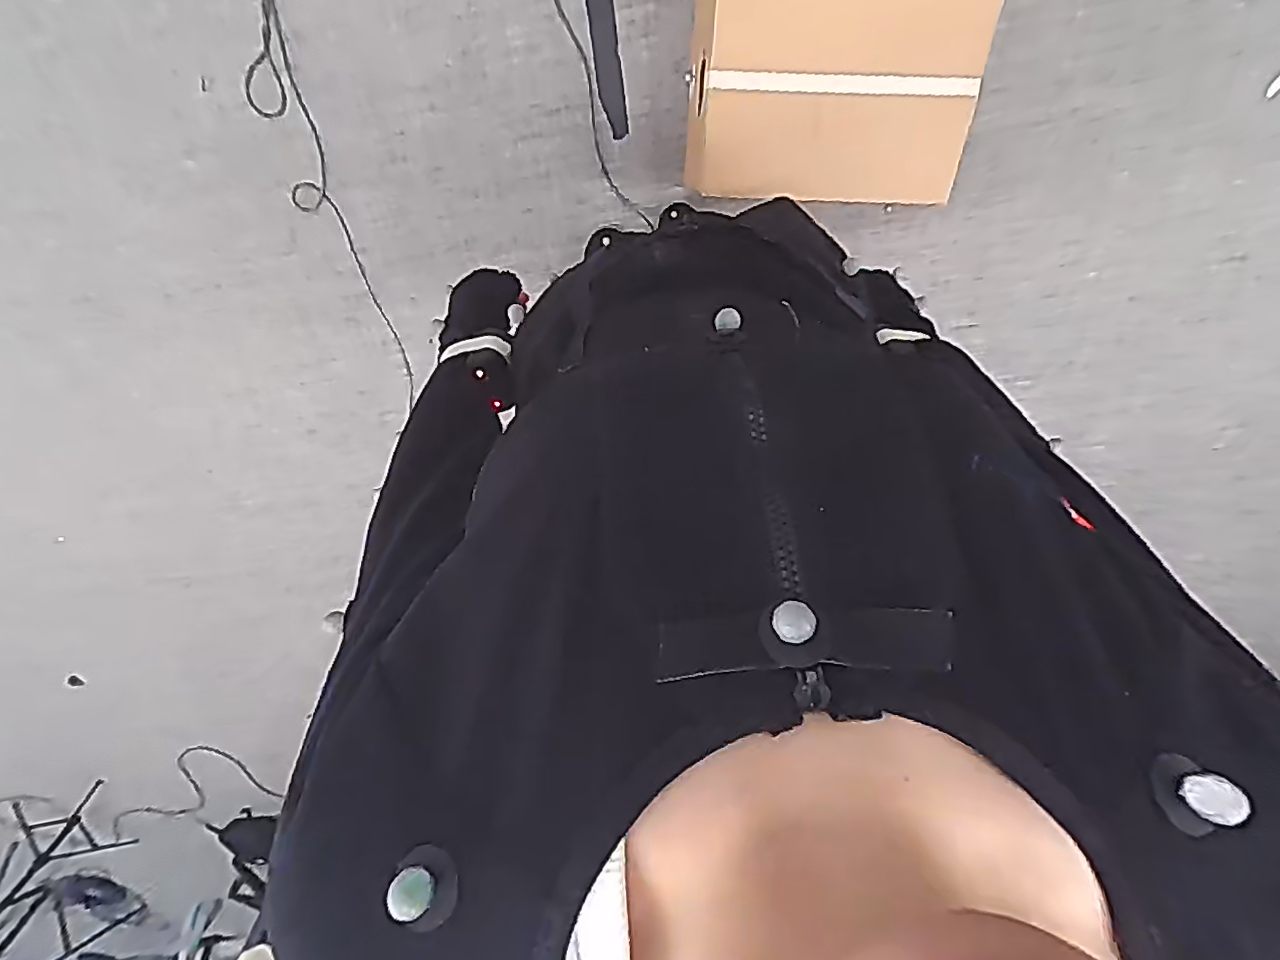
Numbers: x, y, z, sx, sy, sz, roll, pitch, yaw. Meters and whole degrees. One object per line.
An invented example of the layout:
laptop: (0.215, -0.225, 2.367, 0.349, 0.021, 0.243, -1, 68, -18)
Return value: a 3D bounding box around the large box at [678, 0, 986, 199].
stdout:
large box: (0.285, -0.674, 0.928, 0.408, 0.320, 0.320, 1, 121, -2)
